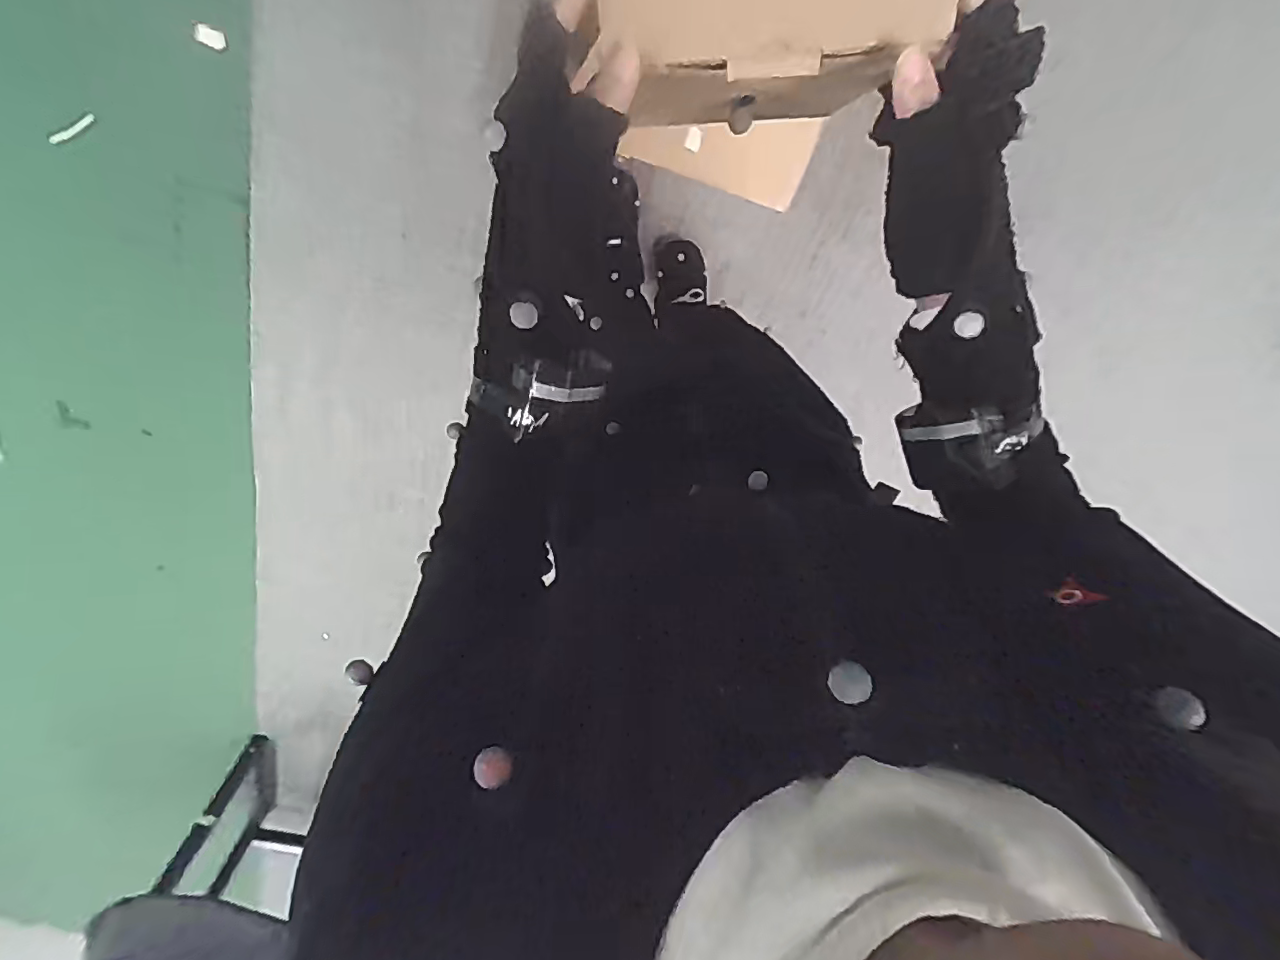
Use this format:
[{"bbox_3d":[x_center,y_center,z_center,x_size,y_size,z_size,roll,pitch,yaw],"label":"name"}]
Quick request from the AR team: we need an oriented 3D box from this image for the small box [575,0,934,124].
[{"bbox_3d":[0.050,-0.304,0.291,0.168,0.176,0.179,-4,117,2],"label":"small box"}]
